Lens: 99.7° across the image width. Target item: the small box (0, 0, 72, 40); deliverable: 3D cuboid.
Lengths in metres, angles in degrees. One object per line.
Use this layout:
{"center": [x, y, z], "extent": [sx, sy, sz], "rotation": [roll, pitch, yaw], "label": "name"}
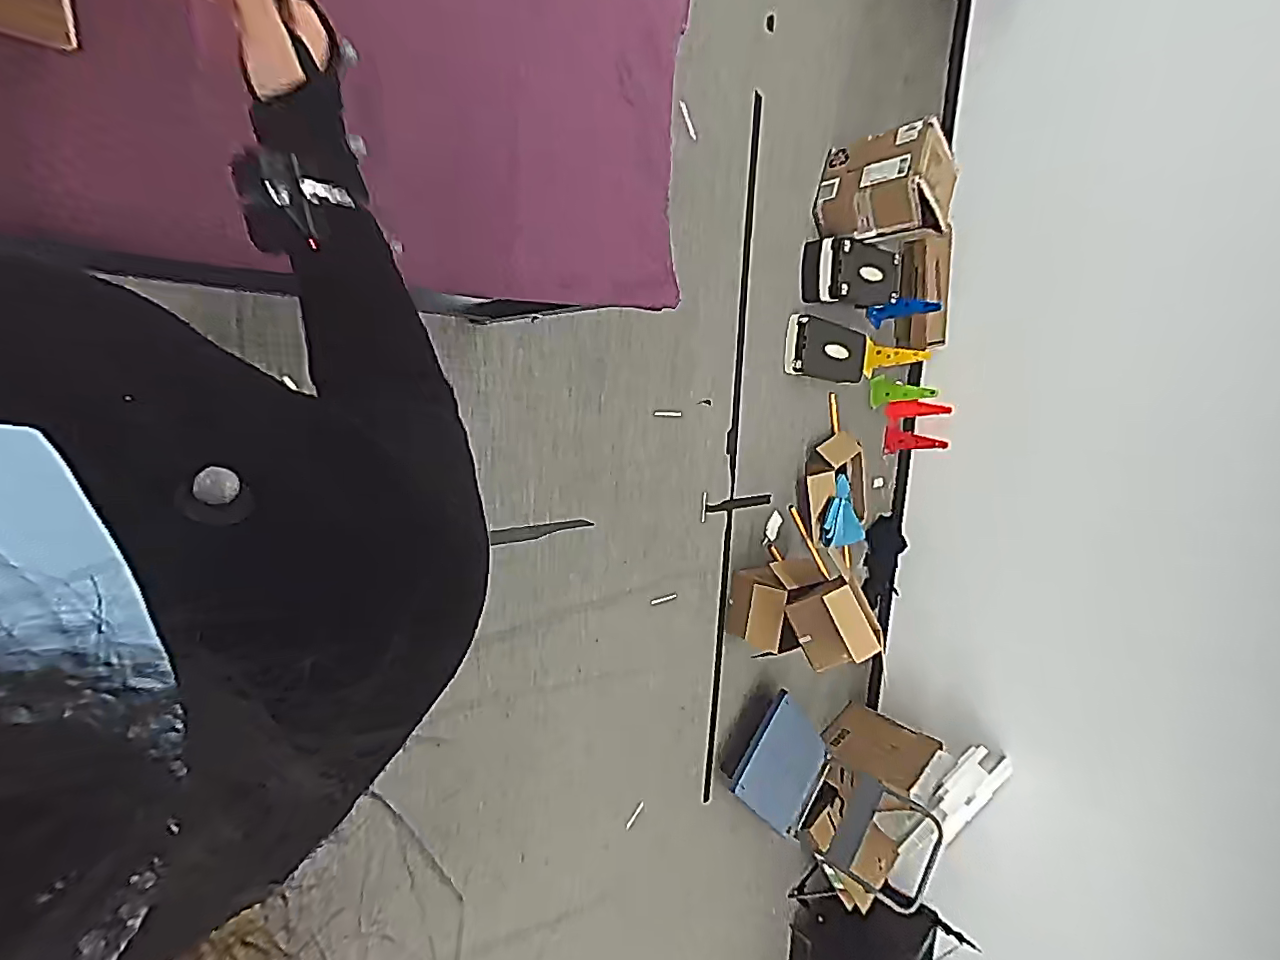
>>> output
{"center": [-0.549, -0.465, 0.386], "extent": [0.179, 0.176, 0.168], "rotation": [-11, 106, -43], "label": "small box"}
